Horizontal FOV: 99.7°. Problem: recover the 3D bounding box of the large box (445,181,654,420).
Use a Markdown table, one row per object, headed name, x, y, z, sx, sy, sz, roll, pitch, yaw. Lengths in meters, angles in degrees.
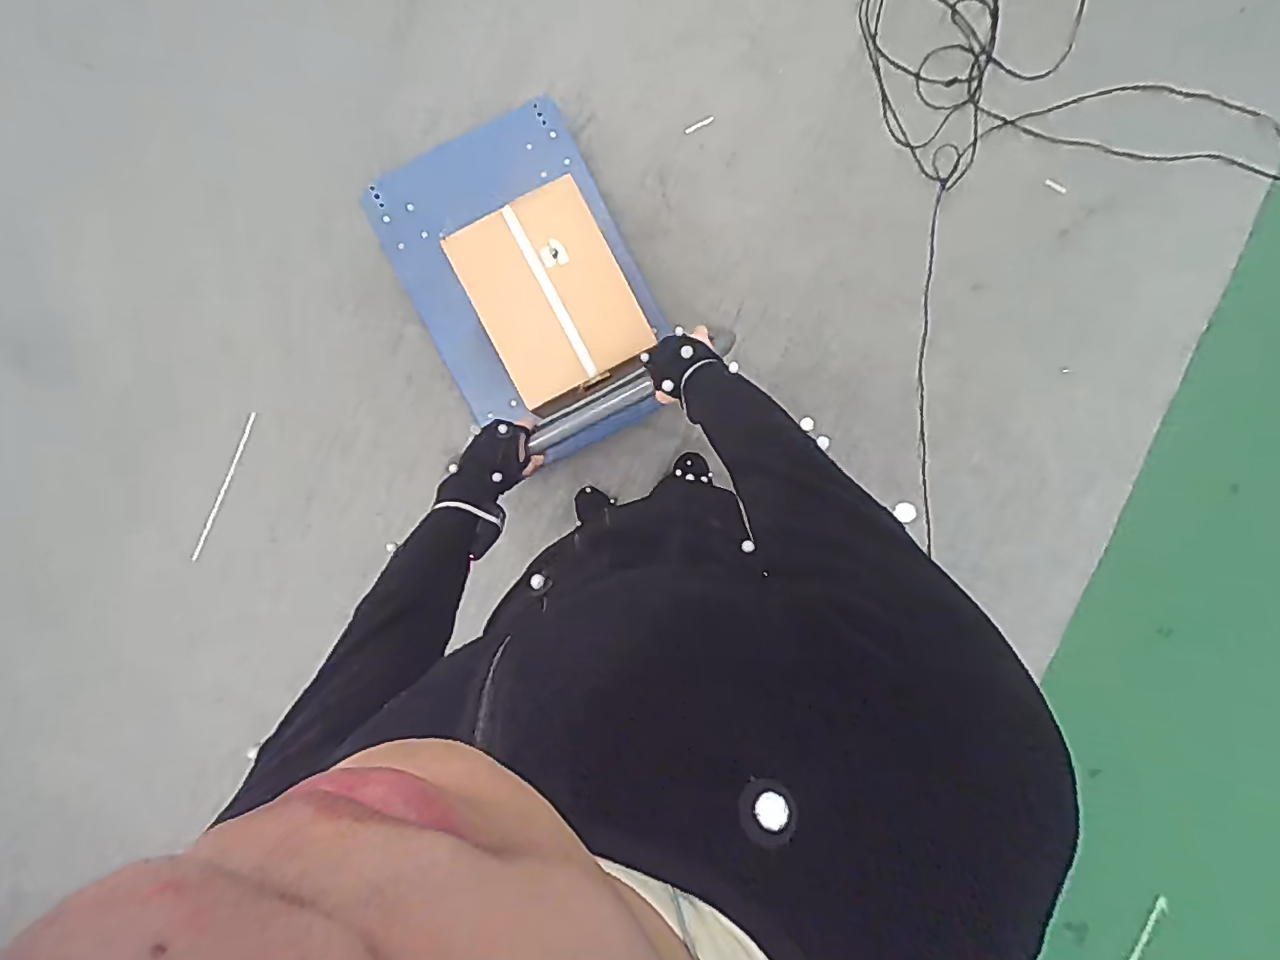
| name | x | y | z | sx | sy | sz | roll | pitch | yaw |
| --- | --- | --- | --- | --- | --- | --- | --- | --- | --- |
| large box | -0.193 | -0.400 | 1.306 | 0.320 | 0.320 | 0.408 | -27 | 91 | -1 |
